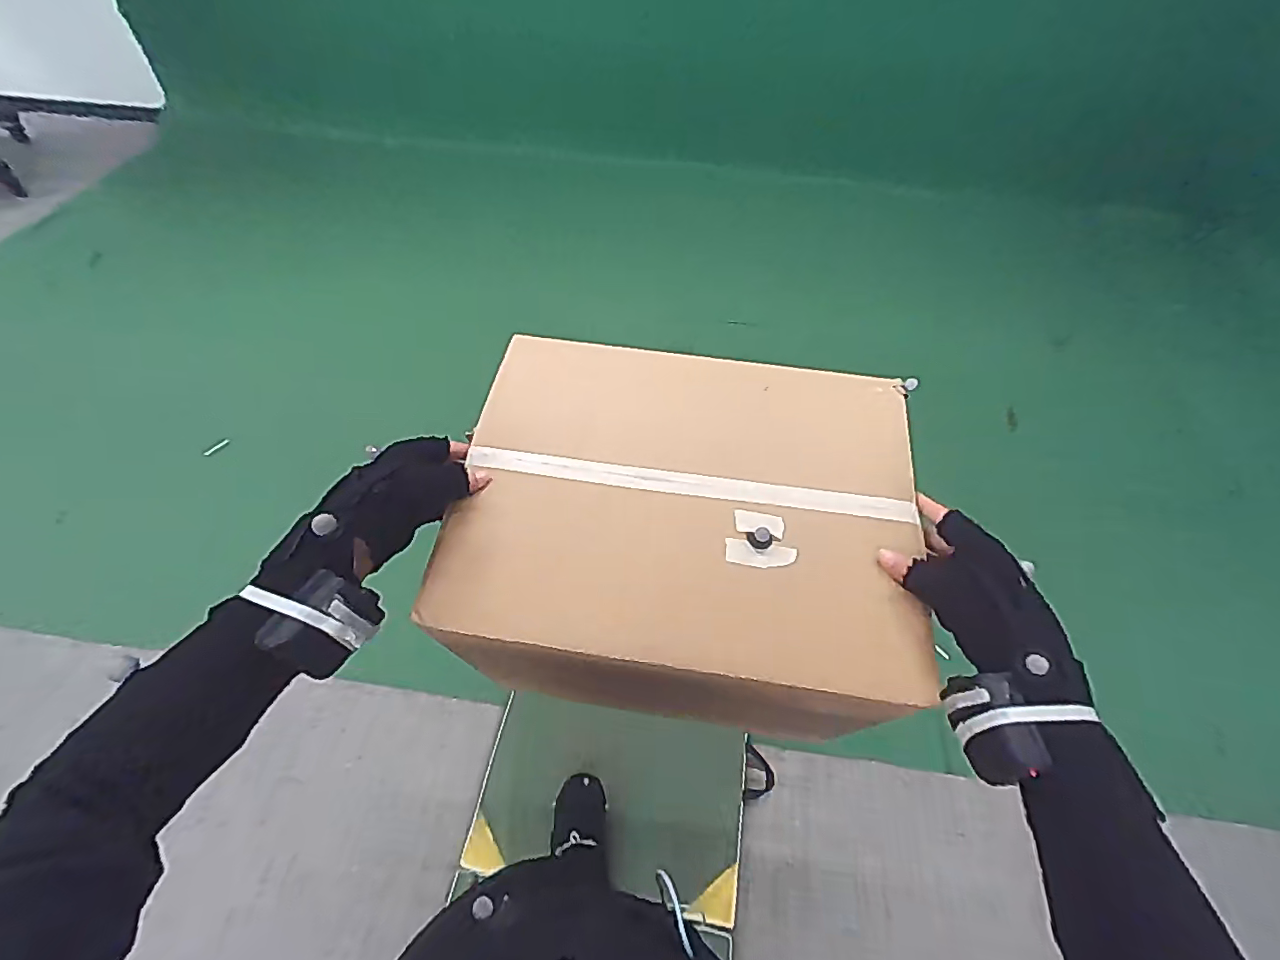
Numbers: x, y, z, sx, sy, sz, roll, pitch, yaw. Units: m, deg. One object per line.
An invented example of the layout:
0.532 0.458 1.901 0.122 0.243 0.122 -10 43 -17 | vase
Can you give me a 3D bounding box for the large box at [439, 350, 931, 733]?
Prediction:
0.047 0.086 0.630 0.408 0.320 0.320 8 60 4 | large box
